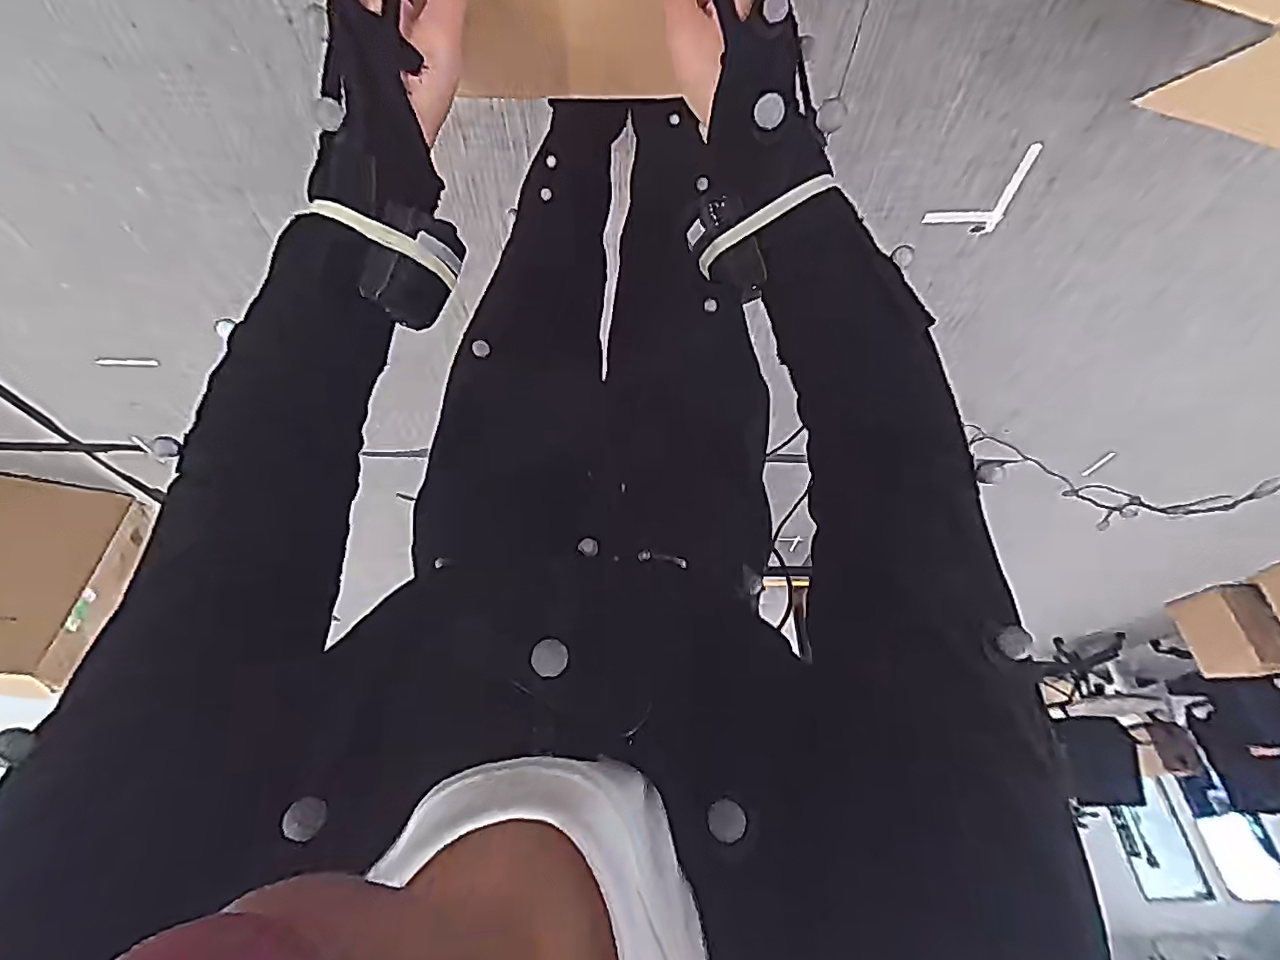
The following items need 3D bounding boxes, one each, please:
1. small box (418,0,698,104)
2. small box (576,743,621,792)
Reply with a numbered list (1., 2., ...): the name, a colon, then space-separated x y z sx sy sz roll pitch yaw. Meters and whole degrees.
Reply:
1. small box: -0.051 -0.379 0.350 0.179 0.176 0.168 1 151 0
2. small box: -0.172 1.199 2.250 0.179 0.176 0.168 5 146 -7
